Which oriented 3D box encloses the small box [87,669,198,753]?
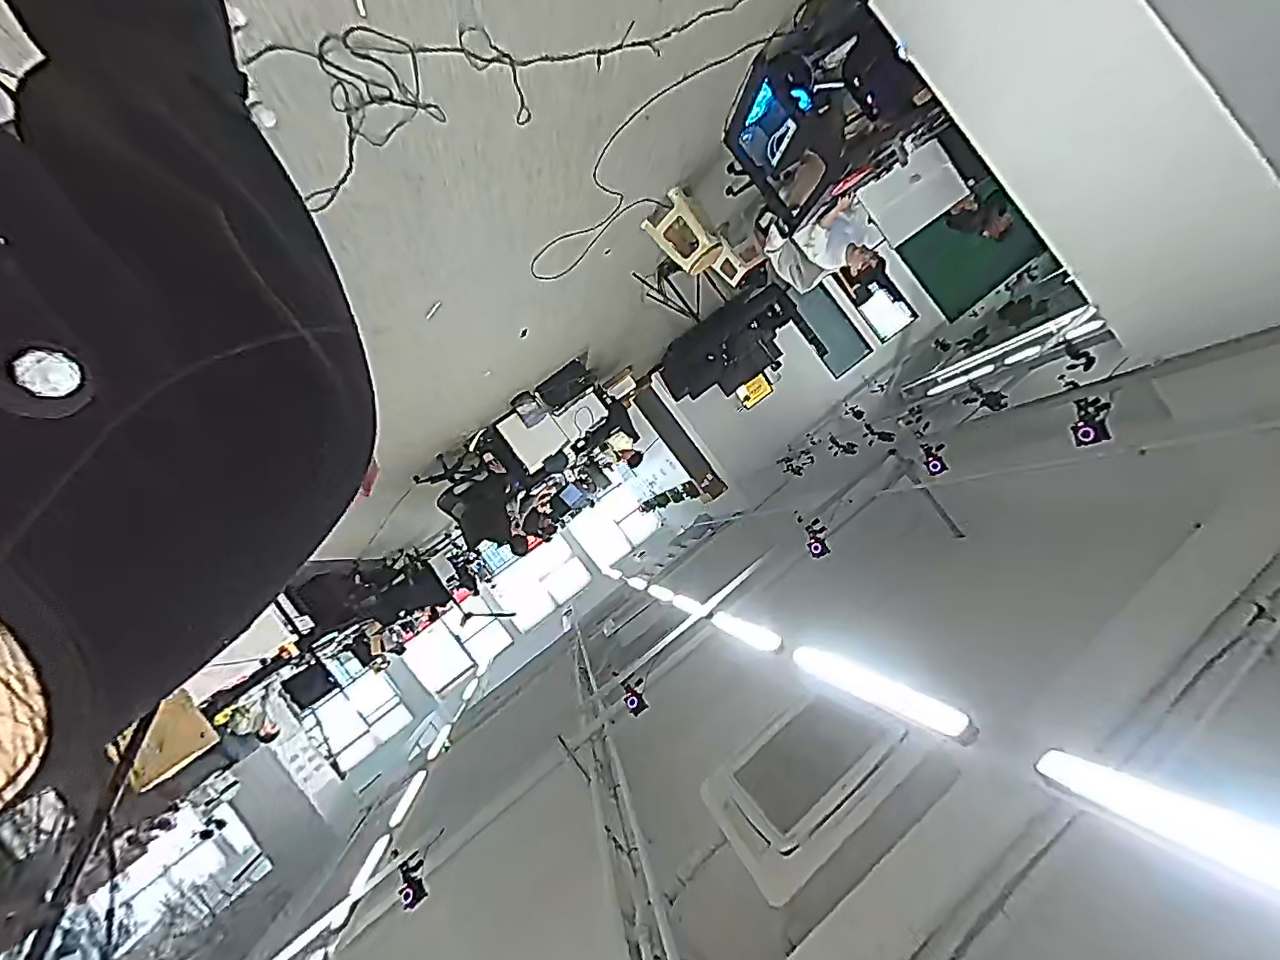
[{"bbox_3d":[-1.606,0.736,1.751,0.168,0.176,0.179,-38,-179,-17],"label":"small box"}]

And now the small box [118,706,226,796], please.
[{"bbox_3d":[-1.505,0.865,1.743,0.168,0.176,0.179,-38,180,-17],"label":"small box"}]
